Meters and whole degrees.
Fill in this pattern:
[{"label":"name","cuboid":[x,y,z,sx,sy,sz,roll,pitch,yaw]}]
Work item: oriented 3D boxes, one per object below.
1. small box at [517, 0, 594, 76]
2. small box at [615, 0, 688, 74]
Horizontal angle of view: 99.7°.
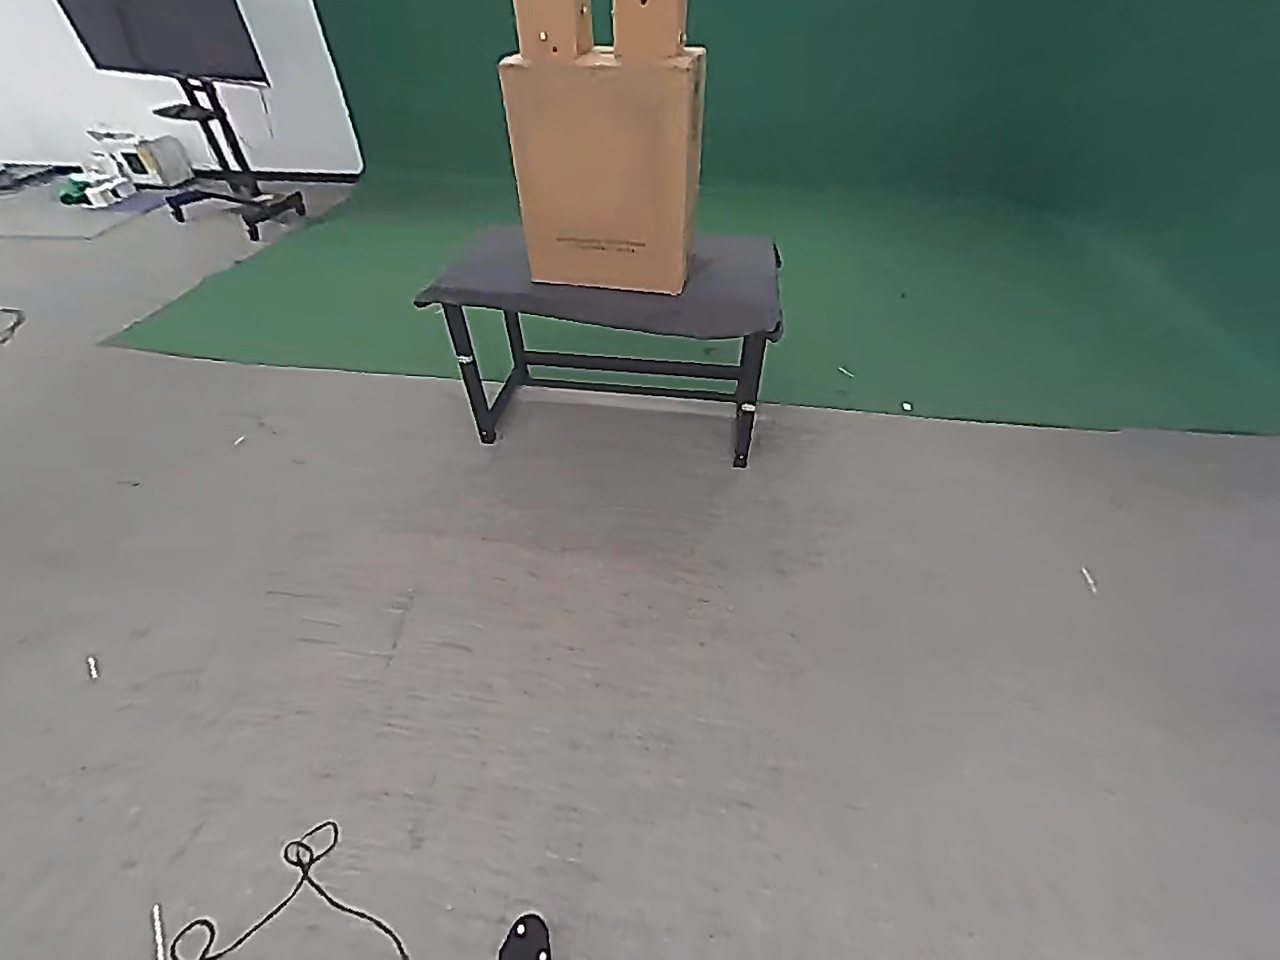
[{"label":"small box","cuboid":[-0.231,-1.266,1.530,0.168,0.176,0.179,8,47,10]},{"label":"small box","cuboid":[0.033,-1.250,1.506,0.179,0.176,0.168,9,47,7]}]
